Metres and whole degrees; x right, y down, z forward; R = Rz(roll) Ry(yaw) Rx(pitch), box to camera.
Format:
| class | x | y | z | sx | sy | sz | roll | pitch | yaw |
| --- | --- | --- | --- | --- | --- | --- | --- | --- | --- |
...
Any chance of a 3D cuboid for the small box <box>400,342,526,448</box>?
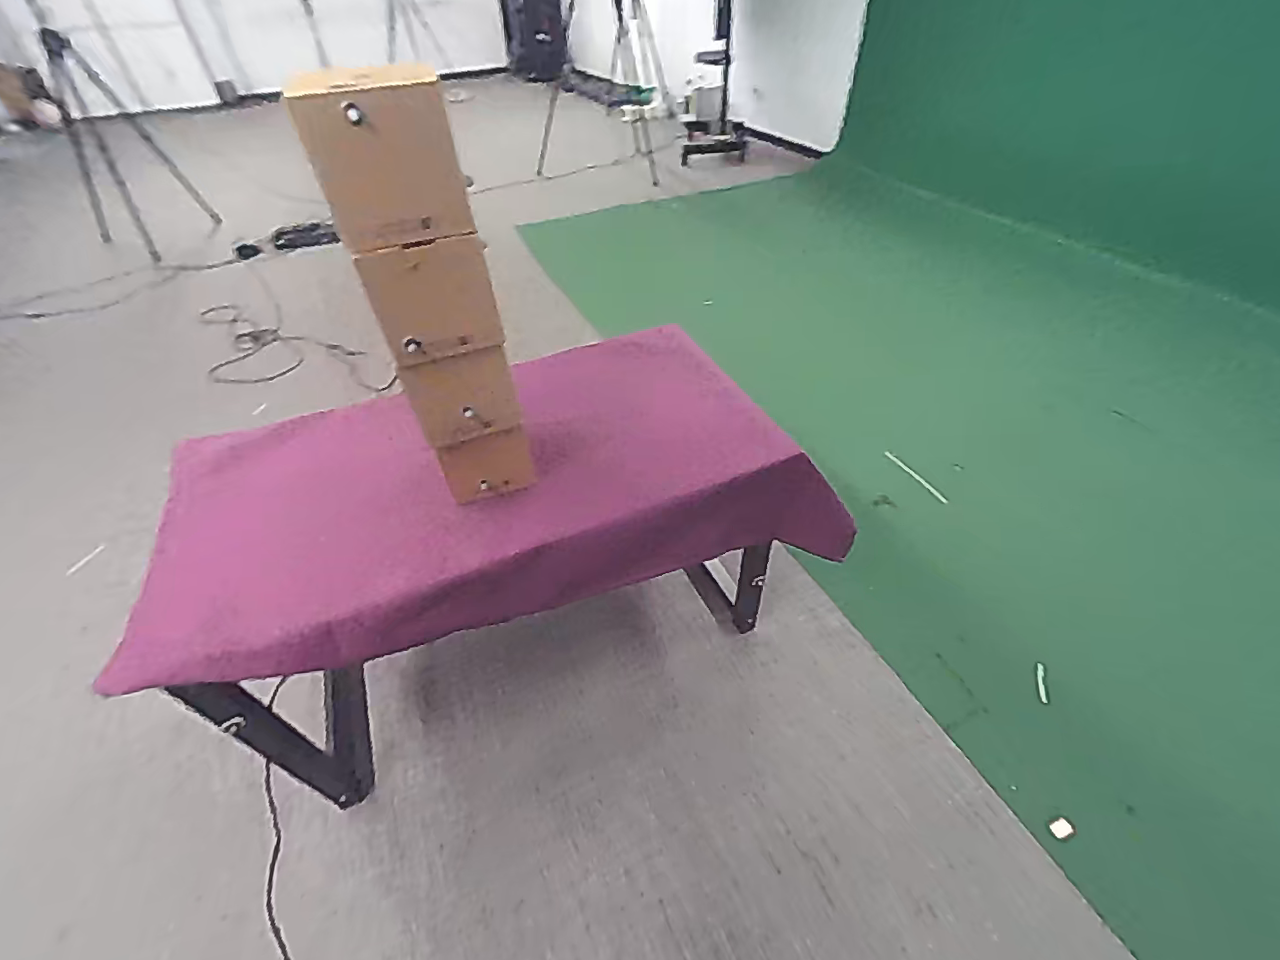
| class | x | y | z | sx | sy | sz | roll | pitch | yaw |
| --- | --- | --- | --- | --- | --- | --- | --- | --- | --- |
| small box | -0.310 | -0.185 | 0.945 | 0.168 | 0.176 | 0.179 | -18 | 46 | -13 |

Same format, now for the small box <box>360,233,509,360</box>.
| class | x | y | z | sx | sy | sz | roll | pitch | yaw |
| --- | --- | --- | --- | --- | --- | --- | --- | --- | --- |
| small box | -0.309 | -0.298 | 0.826 | 0.168 | 0.176 | 0.179 | -17 | 45 | -13 |

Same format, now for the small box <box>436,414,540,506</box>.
| class | x | y | z | sx | sy | sz | roll | pitch | yaw |
| --- | --- | --- | --- | --- | --- | --- | --- | --- | --- |
| small box | -0.306 | -0.079 | 1.071 | 0.168 | 0.176 | 0.179 | -16 | 46 | -13 |

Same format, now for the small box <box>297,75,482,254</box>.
| class | x | y | z | sx | sy | sz | roll | pitch | yaw |
| --- | --- | --- | --- | --- | --- | --- | --- | --- | --- |
| small box | -0.318 | -0.418 | 0.715 | 0.168 | 0.176 | 0.179 | -16 | 45 | -12 |
